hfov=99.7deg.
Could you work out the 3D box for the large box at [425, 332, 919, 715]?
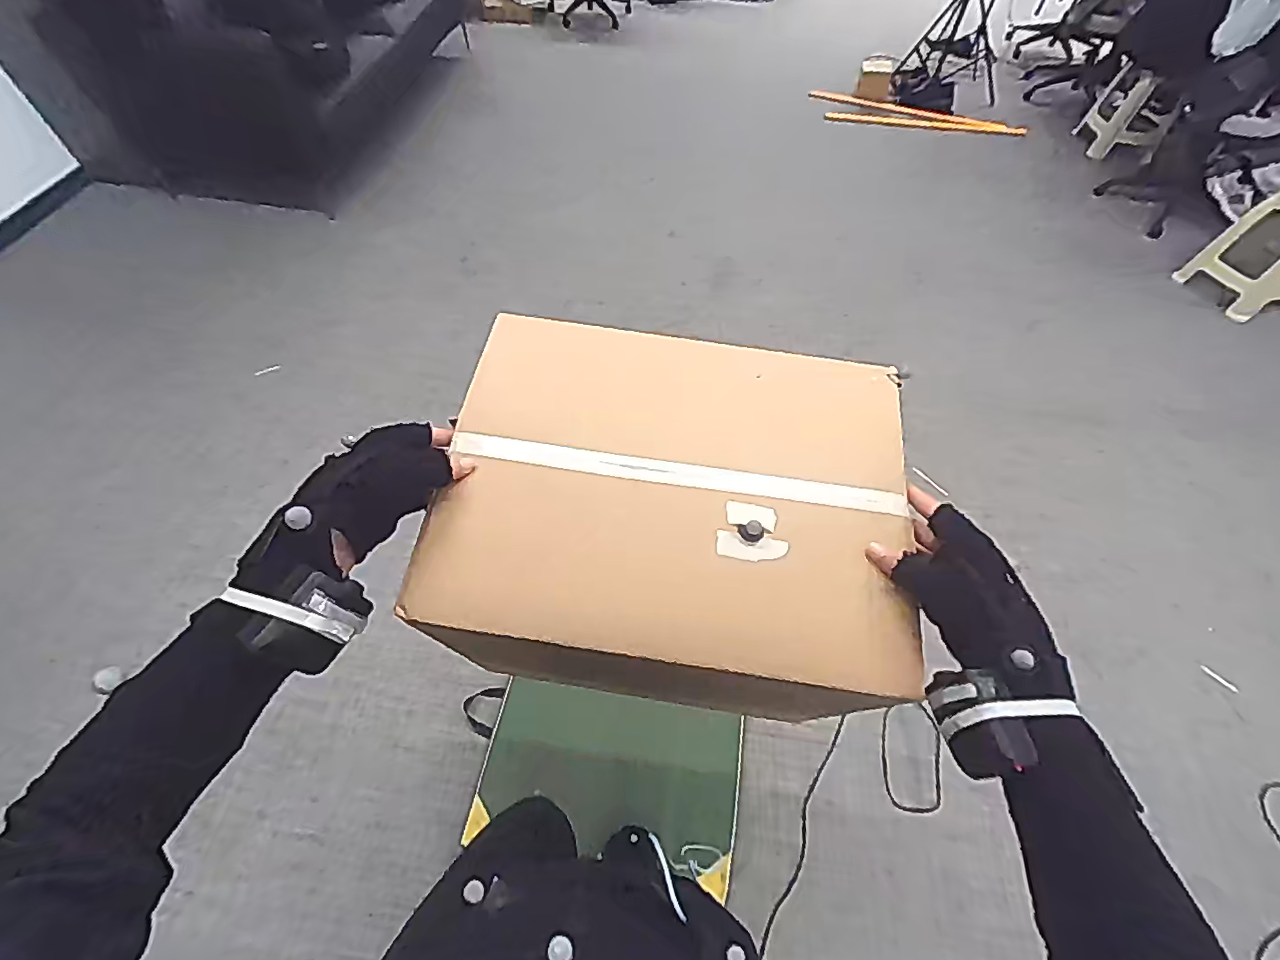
[{"bbox_3d":[0.033,0.071,0.625,0.408,0.320,0.320,8,63,1],"label":"large box"}]
